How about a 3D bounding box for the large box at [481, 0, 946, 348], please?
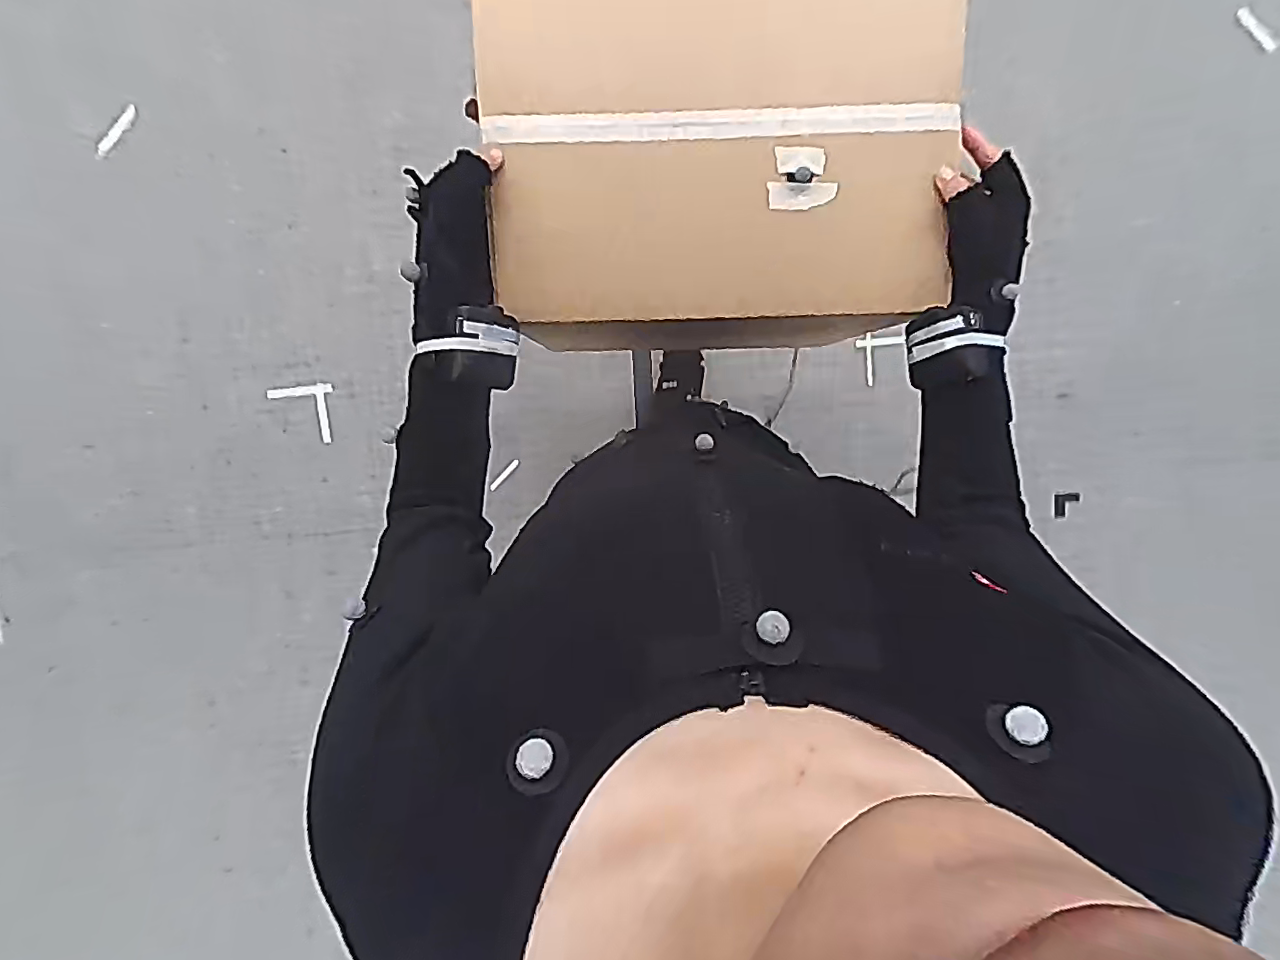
[{"bbox_3d":[0.064,-0.332,0.622,0.408,0.320,0.320,-2,99,-1],"label":"large box"}]
